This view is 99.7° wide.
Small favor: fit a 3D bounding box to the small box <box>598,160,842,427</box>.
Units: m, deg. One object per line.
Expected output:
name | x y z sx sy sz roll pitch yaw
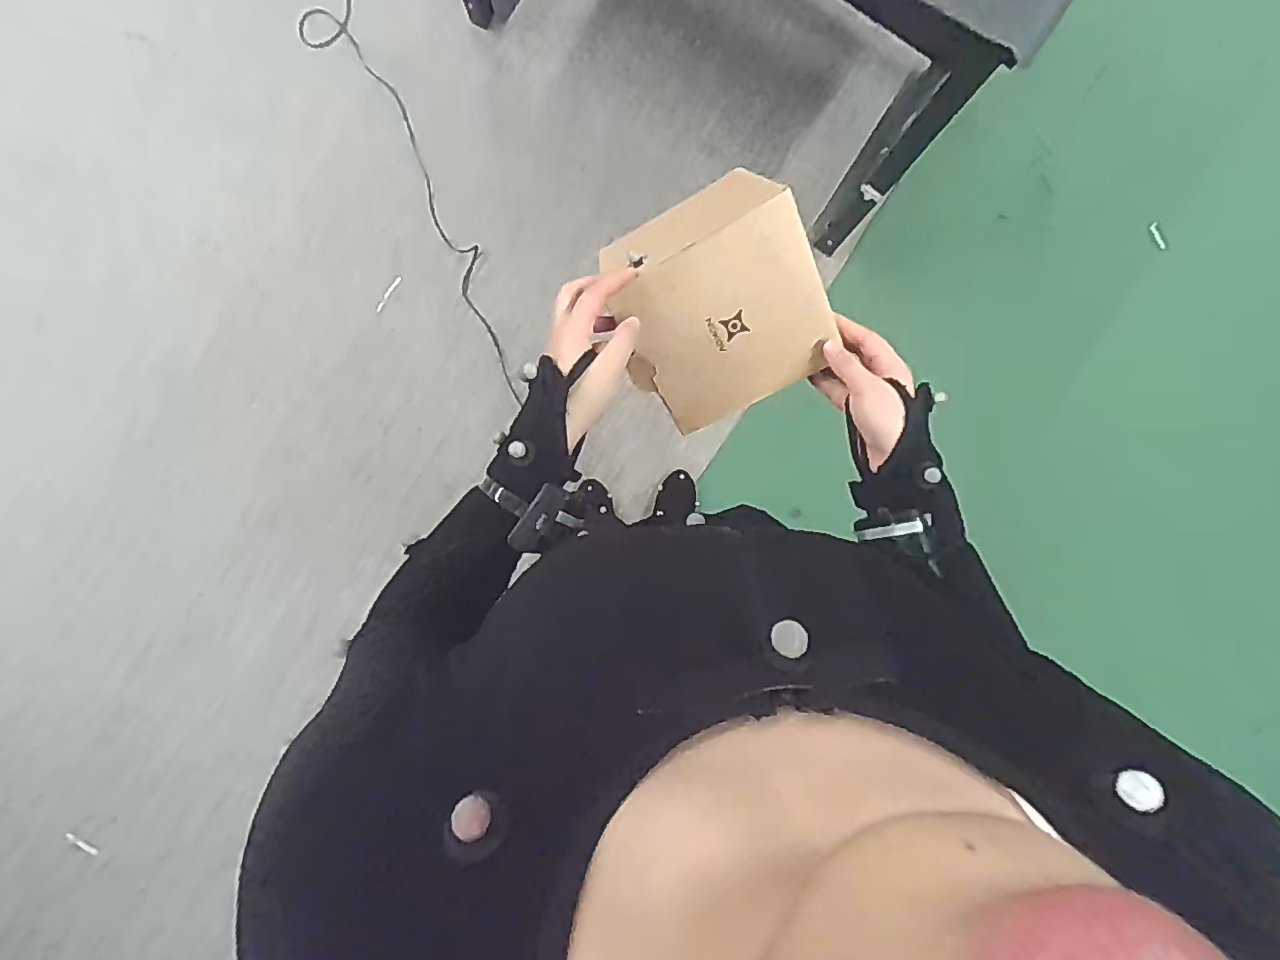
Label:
small box | 0.070 -0.191 0.542 0.179 0.176 0.168 -26 123 15
